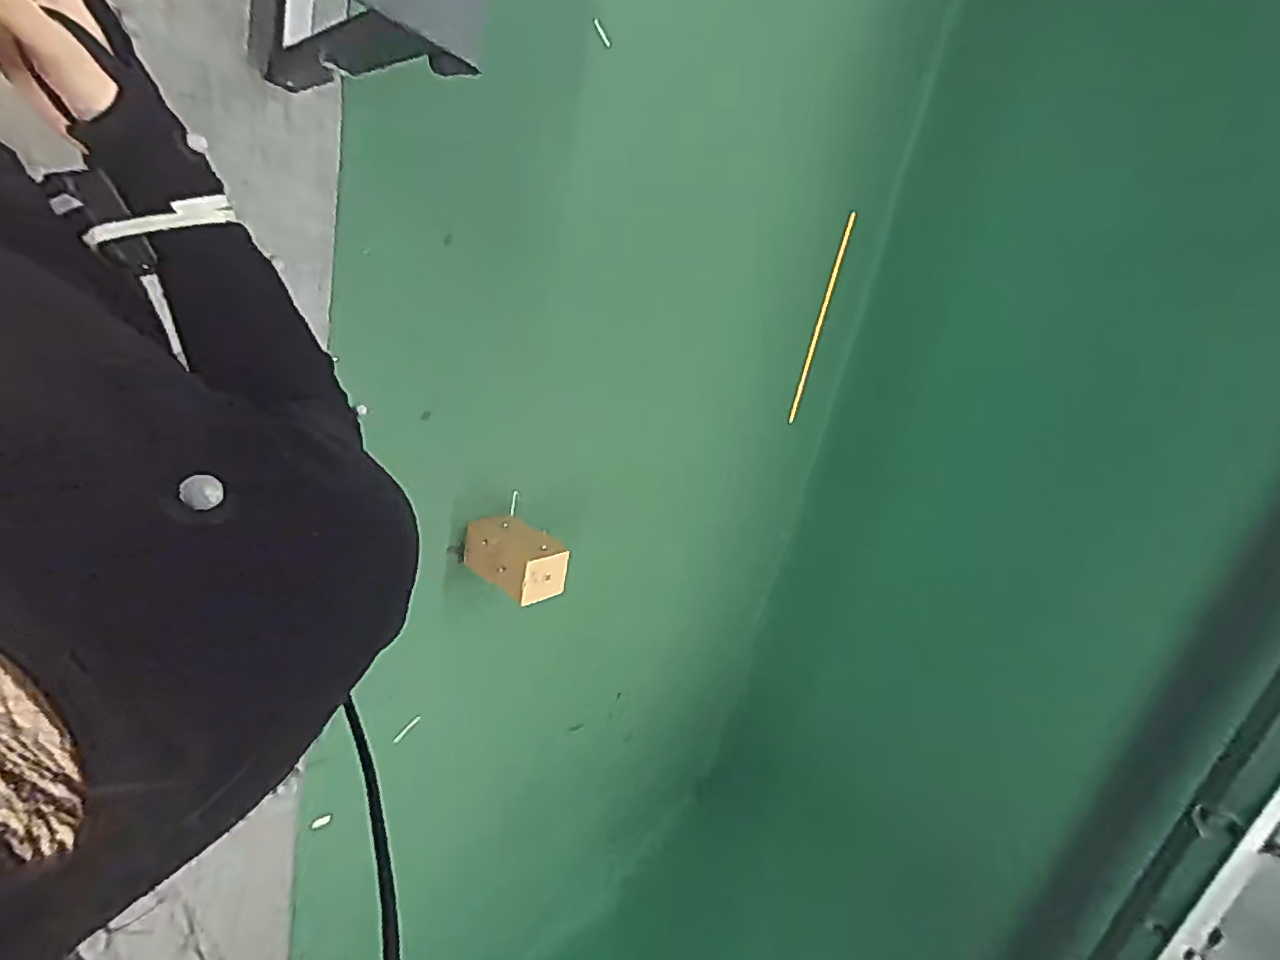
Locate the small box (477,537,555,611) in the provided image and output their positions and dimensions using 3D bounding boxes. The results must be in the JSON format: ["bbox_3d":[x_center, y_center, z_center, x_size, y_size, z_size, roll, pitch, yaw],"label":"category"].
[{"bbox_3d":[-0.414,0.304,1.803,0.179,0.176,0.168,-9,116,-49],"label":"small box"}]
